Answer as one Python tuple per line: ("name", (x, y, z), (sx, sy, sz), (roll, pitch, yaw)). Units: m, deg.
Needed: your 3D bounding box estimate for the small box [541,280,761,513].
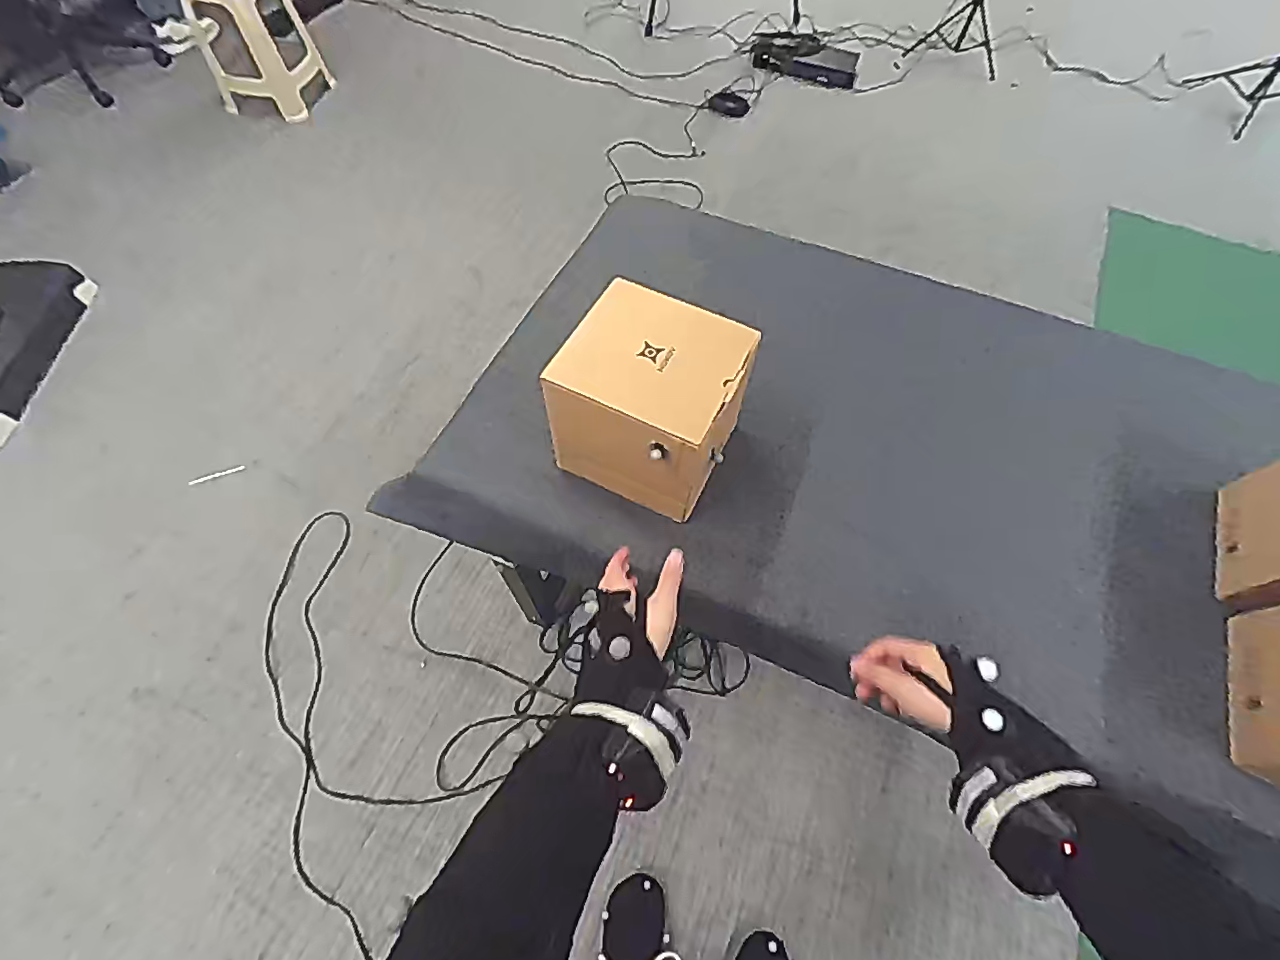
("small box", (0.011, -0.087, 0.613), (0.179, 0.176, 0.168), (24, 62, 11))
